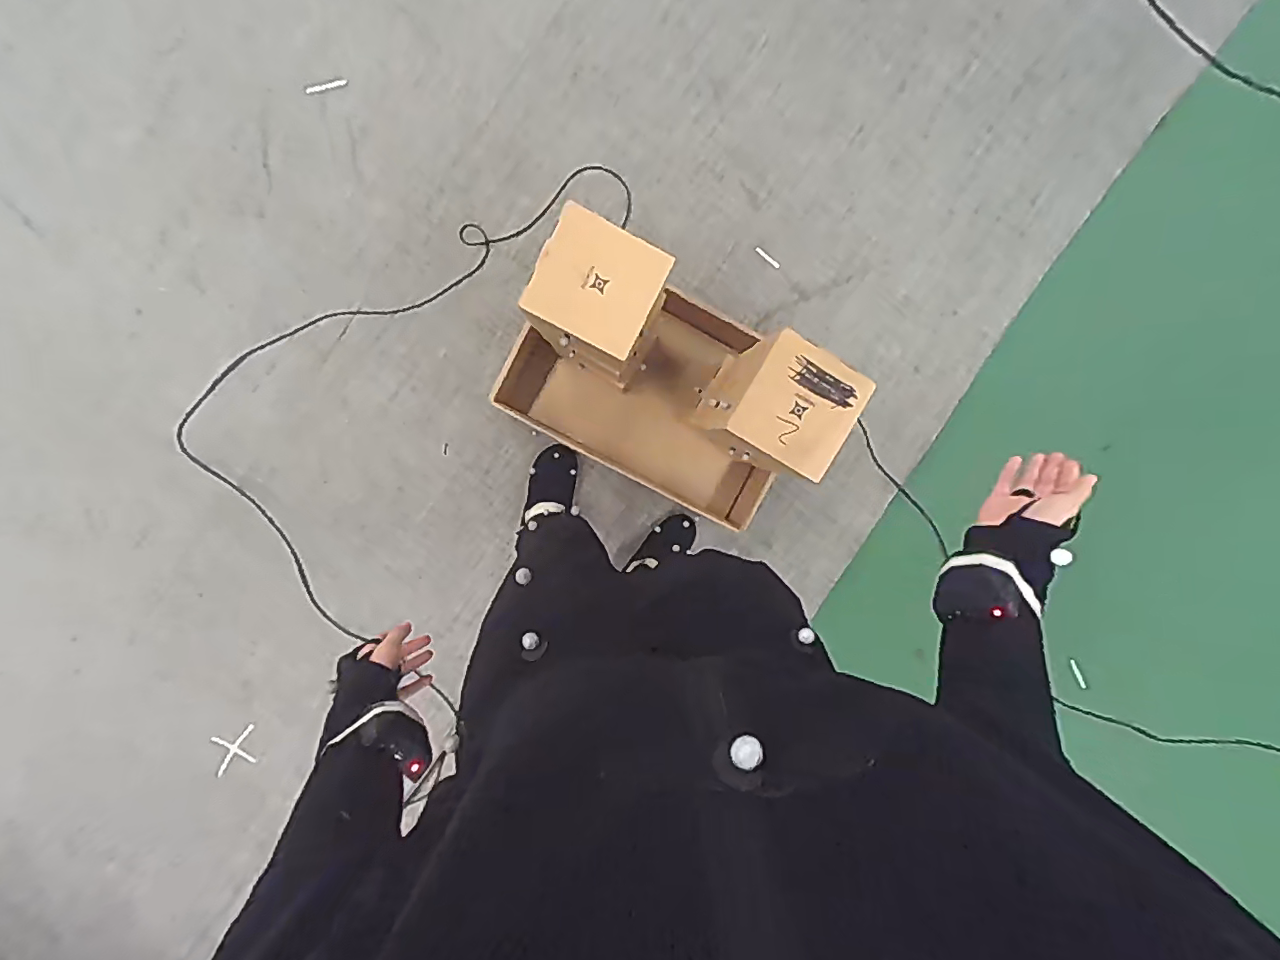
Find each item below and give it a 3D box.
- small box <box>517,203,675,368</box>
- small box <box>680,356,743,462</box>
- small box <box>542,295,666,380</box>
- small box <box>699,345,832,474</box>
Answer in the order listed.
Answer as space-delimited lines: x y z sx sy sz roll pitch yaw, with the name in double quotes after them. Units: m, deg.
-0.065 -0.288 0.848 0.179 0.176 0.168 27 93 -4 "small box"
0.205 -0.147 1.202 0.179 0.176 0.168 32 91 -4 "small box"
-0.075 -0.301 1.010 0.179 0.176 0.168 32 92 -6 "small box"
0.227 -0.128 1.039 0.168 0.176 0.179 32 91 -6 "small box"
